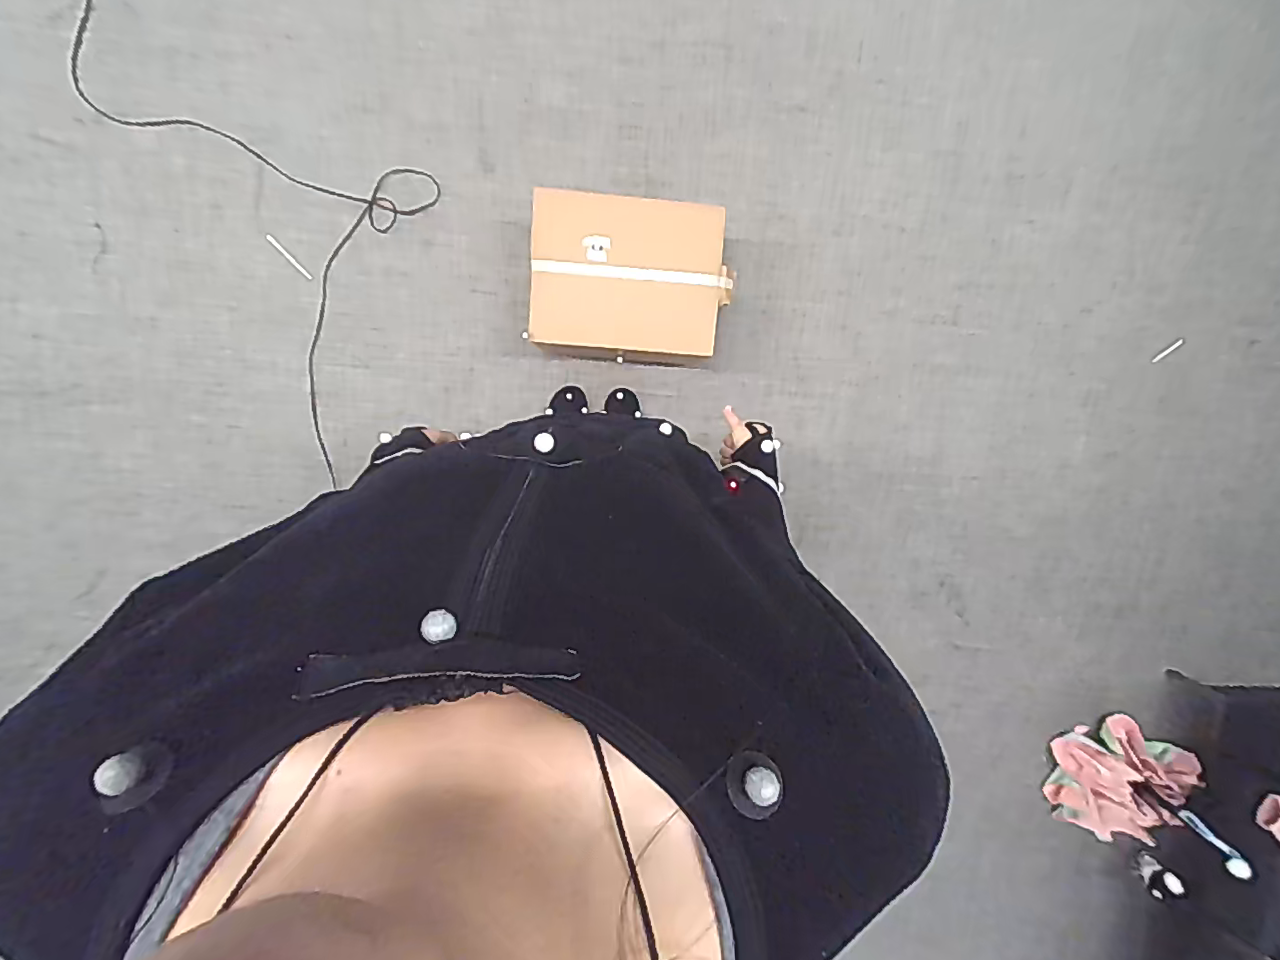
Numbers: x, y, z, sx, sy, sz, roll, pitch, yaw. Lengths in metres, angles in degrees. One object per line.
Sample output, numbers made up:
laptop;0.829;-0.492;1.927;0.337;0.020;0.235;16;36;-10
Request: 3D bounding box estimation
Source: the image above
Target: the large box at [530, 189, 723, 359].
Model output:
large box;-0.035;-0.466;1.299;0.408;0.320;0.320;4;99;-3
